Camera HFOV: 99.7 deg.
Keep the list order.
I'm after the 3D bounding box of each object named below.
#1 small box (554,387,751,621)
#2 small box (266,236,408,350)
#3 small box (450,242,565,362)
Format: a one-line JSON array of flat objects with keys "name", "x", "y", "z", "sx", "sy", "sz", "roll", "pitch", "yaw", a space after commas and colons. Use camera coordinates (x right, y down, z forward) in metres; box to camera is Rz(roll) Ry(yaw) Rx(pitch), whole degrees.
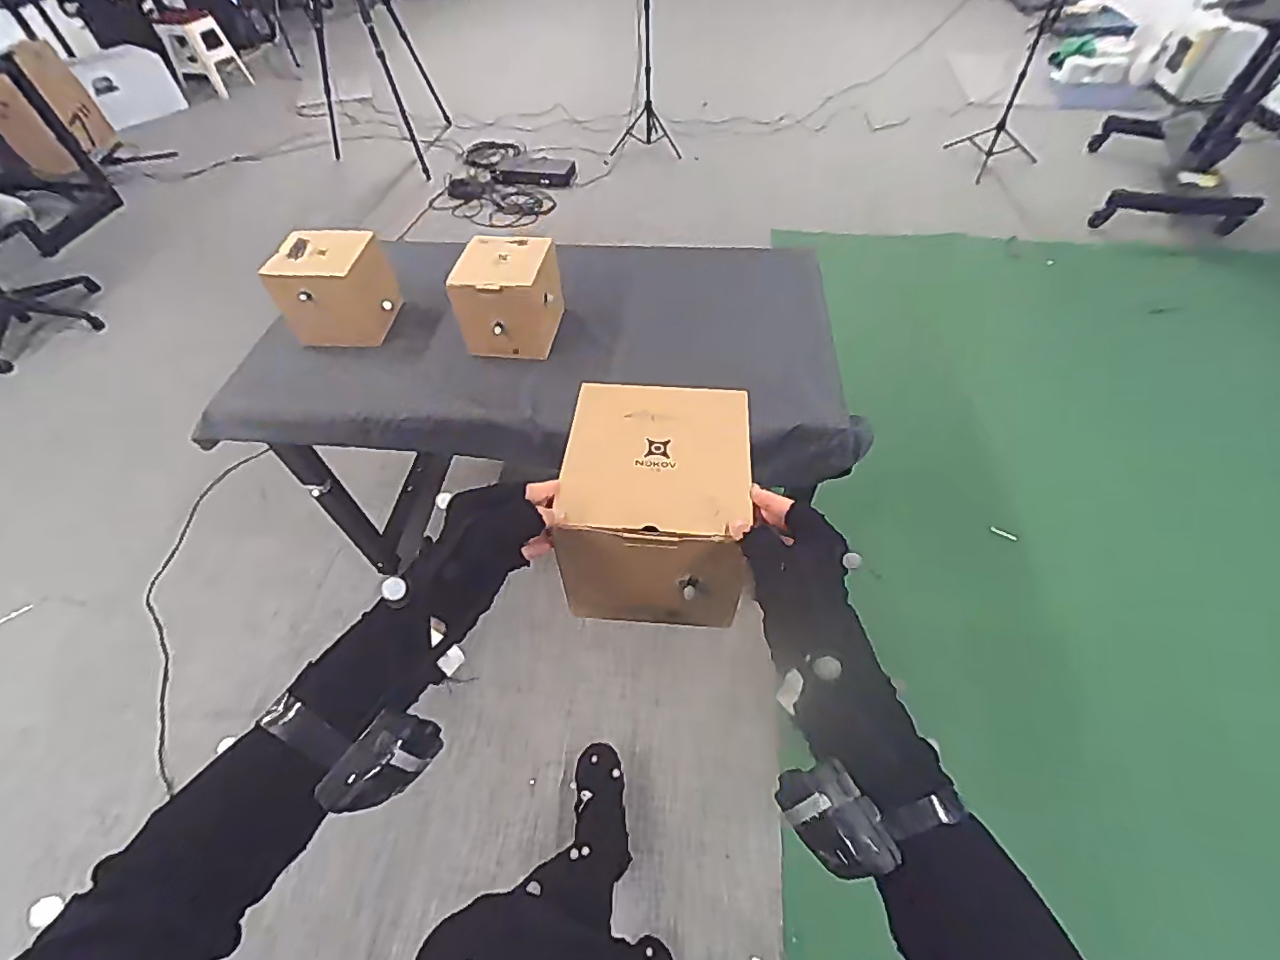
[{"name": "small box", "x": 0.018, "y": 0.028, "z": 0.552, "sx": 0.168, "sy": 0.176, "sz": 0.179, "roll": 4, "pitch": 49, "yaw": 3}, {"name": "small box", "x": -0.622, "y": -0.389, "z": 1.135, "sx": 0.179, "sy": 0.176, "sz": 0.168, "roll": 2, "pitch": 52, "yaw": 2}, {"name": "small box", "x": -0.255, "y": -0.359, "z": 1.097, "sx": 0.168, "sy": 0.176, "sz": 0.179, "roll": 5, "pitch": 53, "yaw": 6}]
